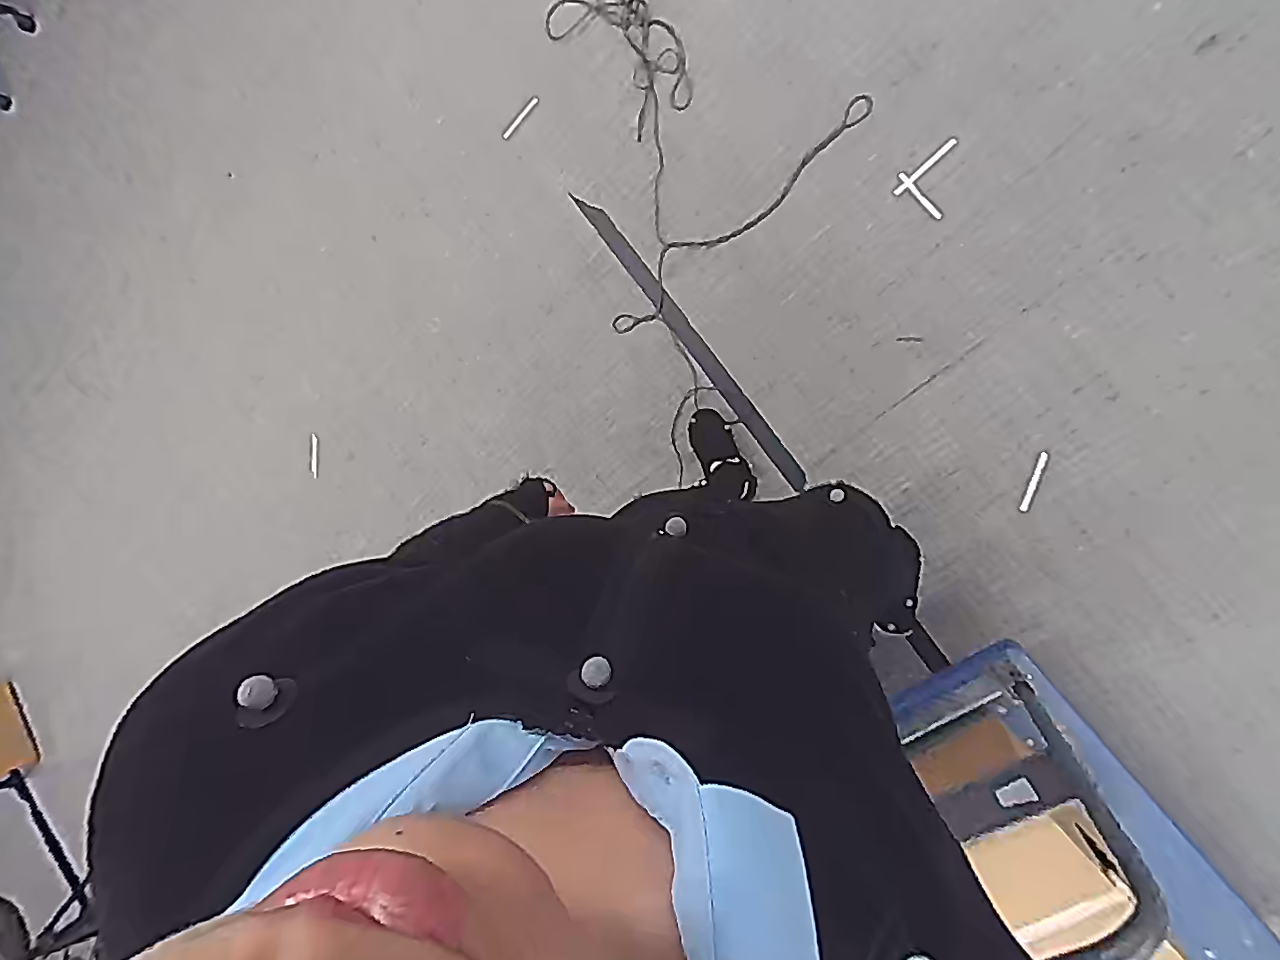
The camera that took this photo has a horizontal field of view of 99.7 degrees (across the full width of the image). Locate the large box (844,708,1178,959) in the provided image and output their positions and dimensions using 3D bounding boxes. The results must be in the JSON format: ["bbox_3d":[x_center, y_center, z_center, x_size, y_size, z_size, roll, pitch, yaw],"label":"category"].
[{"bbox_3d":[0.662,0.741,1.063,0.408,0.320,0.320,-45,80,20],"label":"large box"}]
